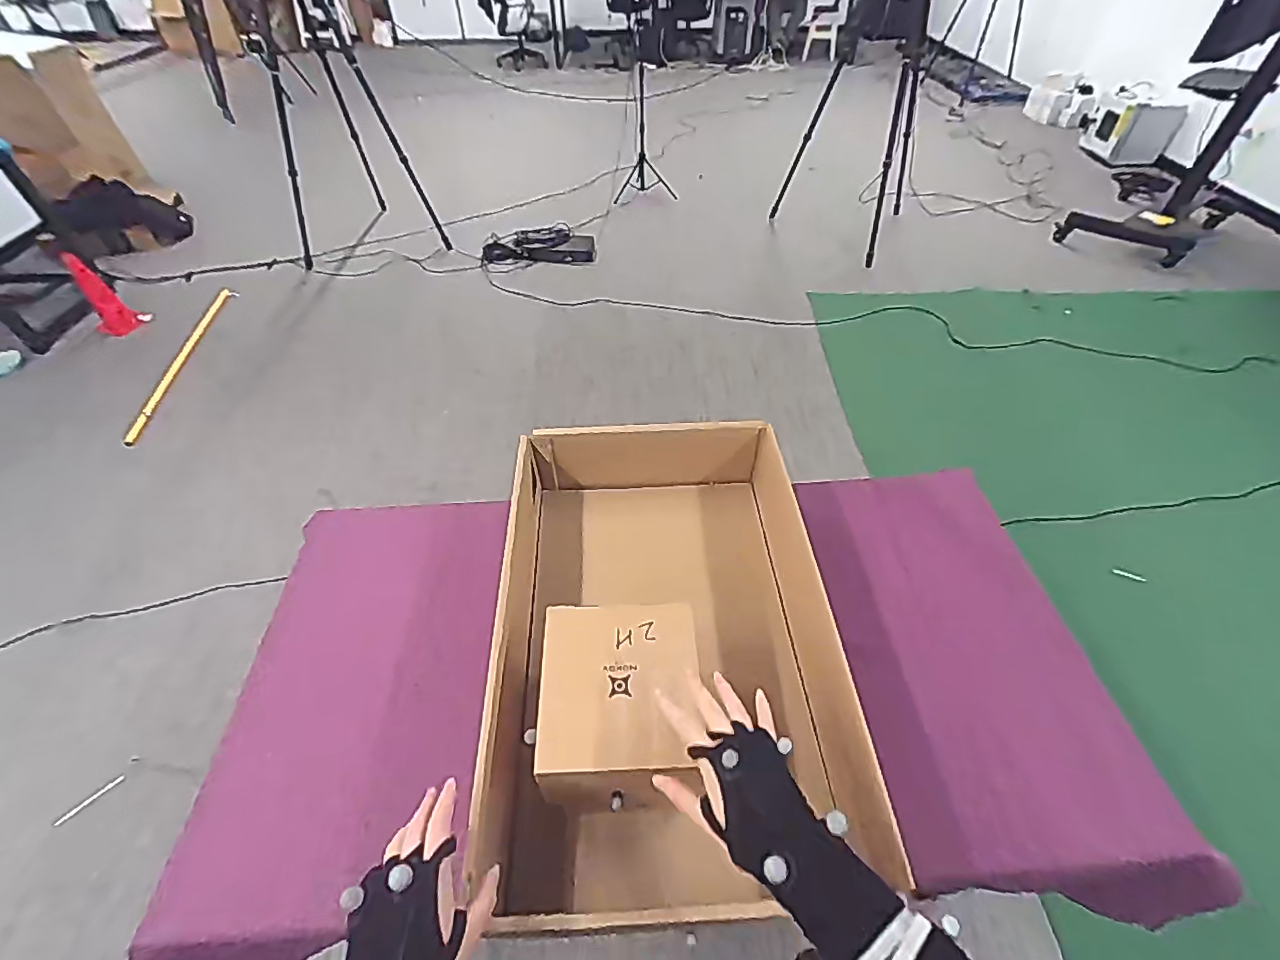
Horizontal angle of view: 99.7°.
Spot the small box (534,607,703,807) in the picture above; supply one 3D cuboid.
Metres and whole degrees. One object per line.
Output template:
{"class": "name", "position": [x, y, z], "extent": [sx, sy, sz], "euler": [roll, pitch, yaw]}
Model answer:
{"class": "small box", "position": [-0.020, 0.266, 0.625], "extent": [0.168, 0.176, 0.179], "euler": [-1, 48, -1]}
